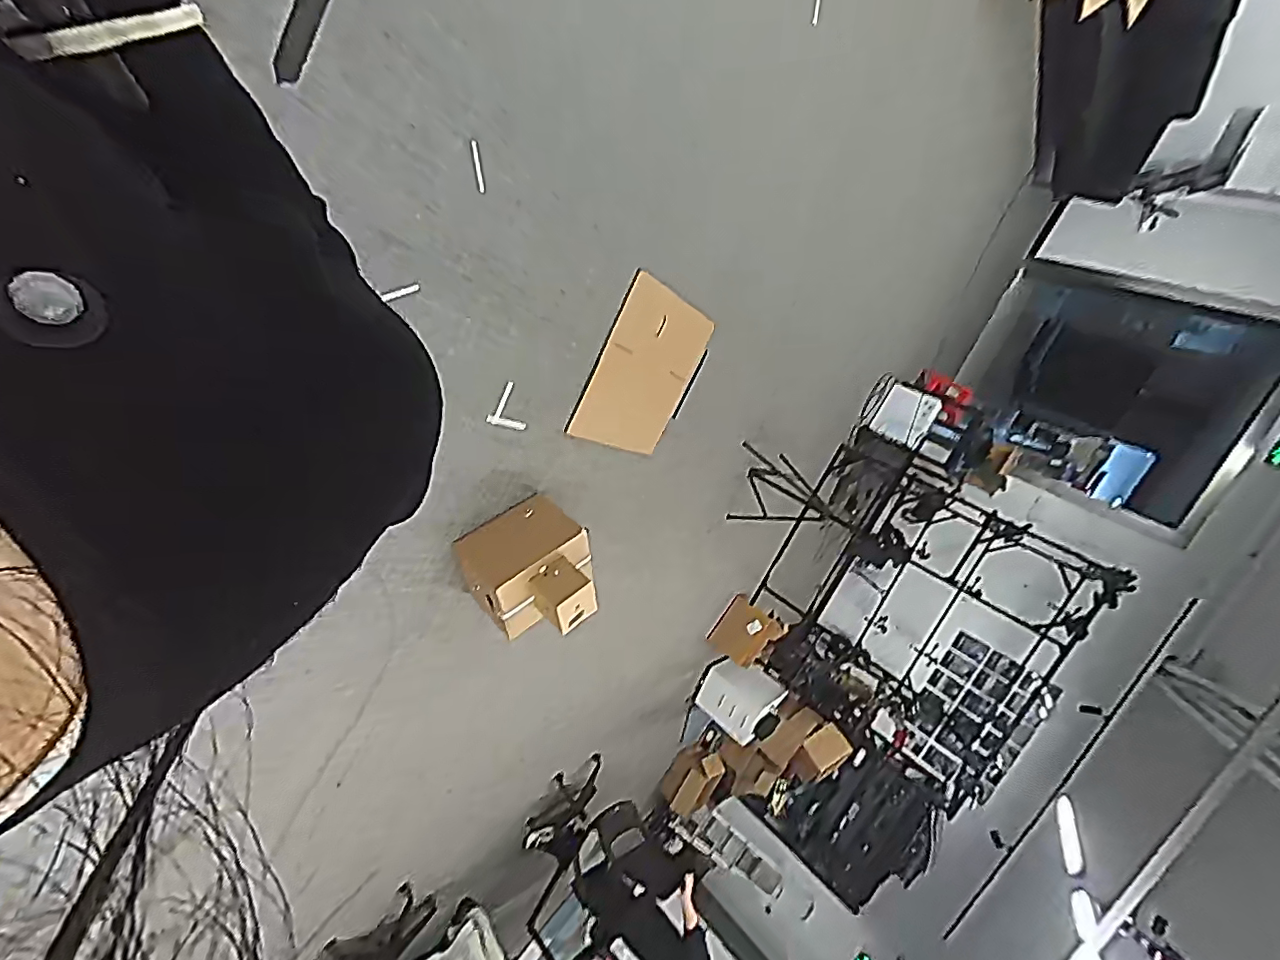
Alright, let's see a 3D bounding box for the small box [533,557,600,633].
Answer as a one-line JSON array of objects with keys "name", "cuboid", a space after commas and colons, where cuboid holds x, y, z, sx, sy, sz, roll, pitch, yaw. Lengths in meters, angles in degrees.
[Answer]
[{"name": "small box", "cuboid": [-0.270, 0.417, 1.984, 0.168, 0.176, 0.179, -34, 139, -30]}]
